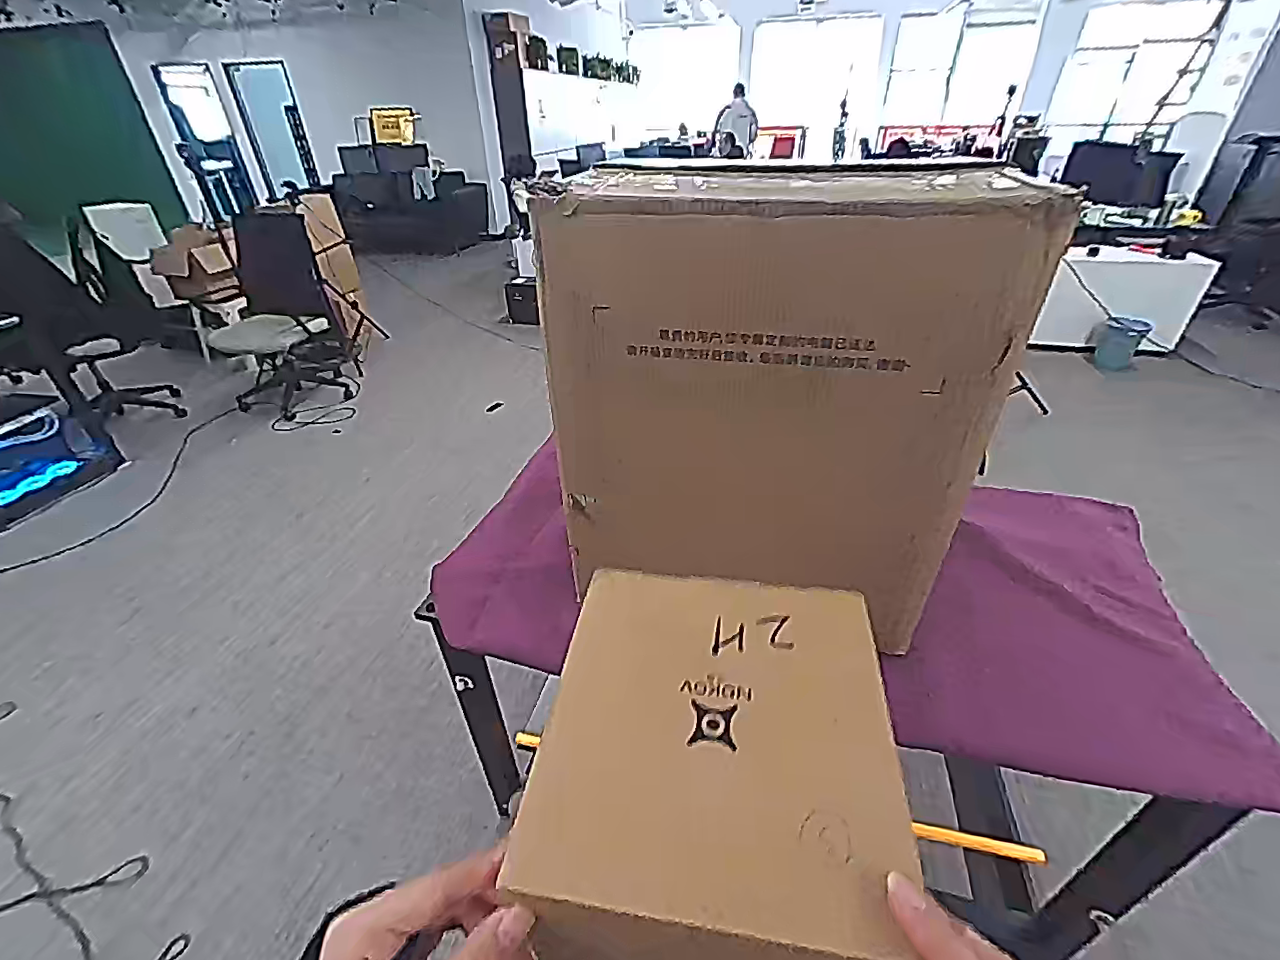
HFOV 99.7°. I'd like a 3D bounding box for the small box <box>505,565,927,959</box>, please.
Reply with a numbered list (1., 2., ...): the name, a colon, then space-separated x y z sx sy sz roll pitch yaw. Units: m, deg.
1. small box: 0.042 0.176 0.318 0.168 0.176 0.179 4 38 9
